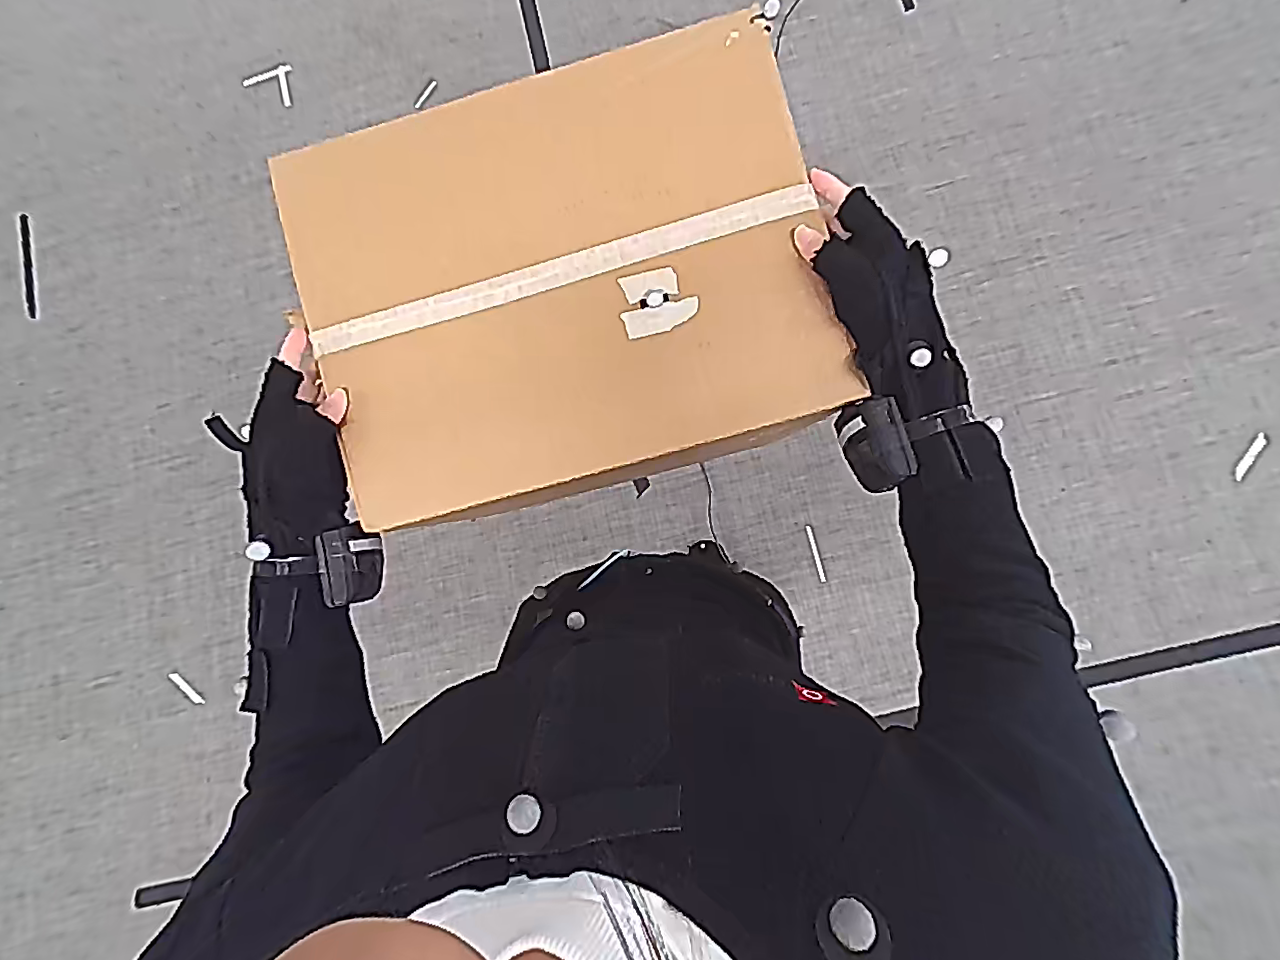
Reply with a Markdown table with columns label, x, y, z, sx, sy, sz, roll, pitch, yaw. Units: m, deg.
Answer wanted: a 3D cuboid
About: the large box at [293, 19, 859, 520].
| label | x | y | z | sx | sy | sz | roll | pitch | yaw |
| --- | --- | --- | --- | --- | --- | --- | --- | --- | --- |
| large box | -0.052 | -0.163 | 0.580 | 0.408 | 0.320 | 0.320 | -16 | 89 | 2 |
